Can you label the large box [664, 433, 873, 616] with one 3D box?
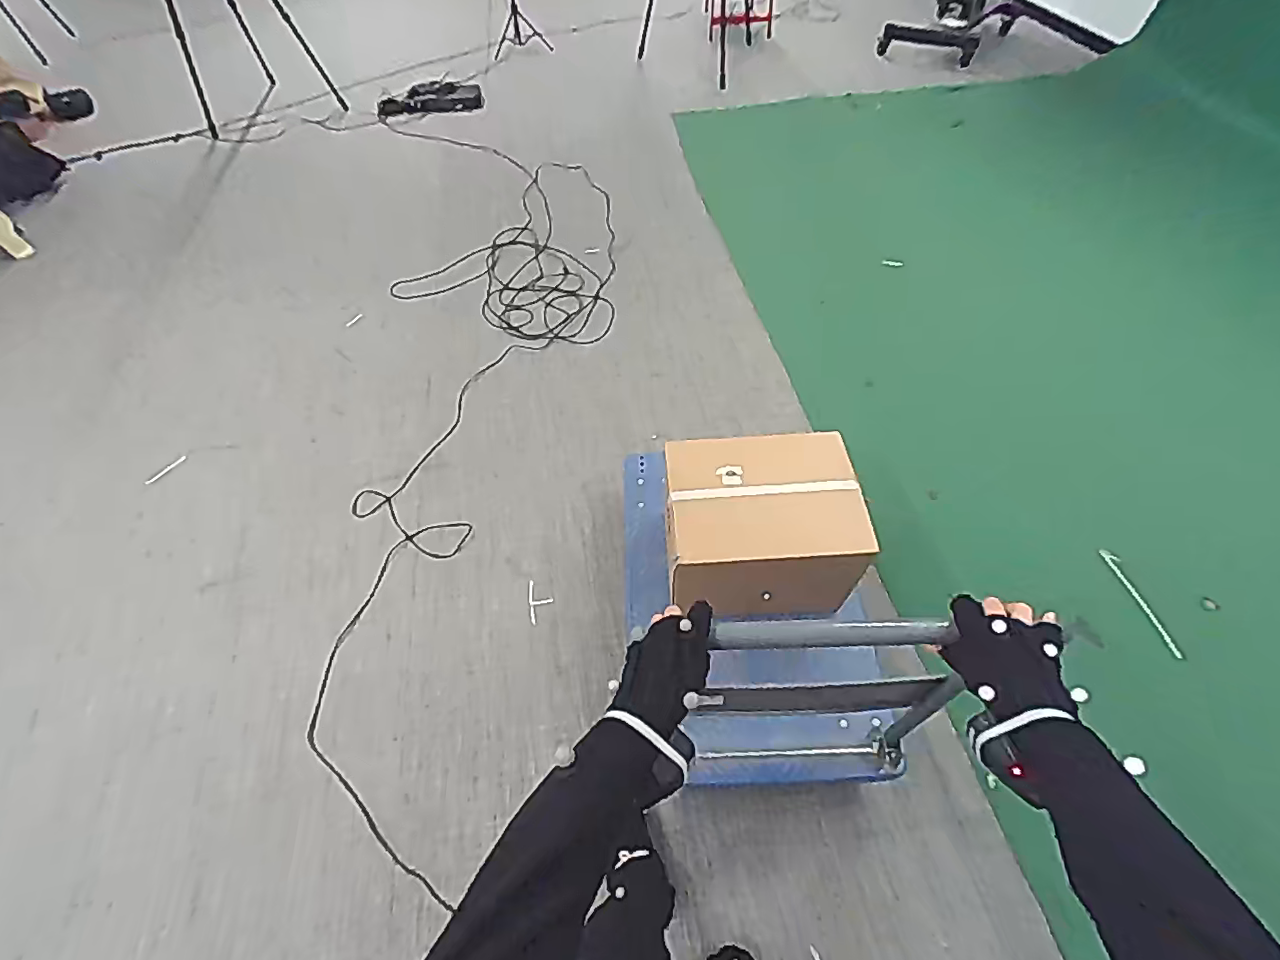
[{"bbox_3d":[0.270,0.115,1.284,0.408,0.320,0.320,-4,55,0],"label":"large box"}]
